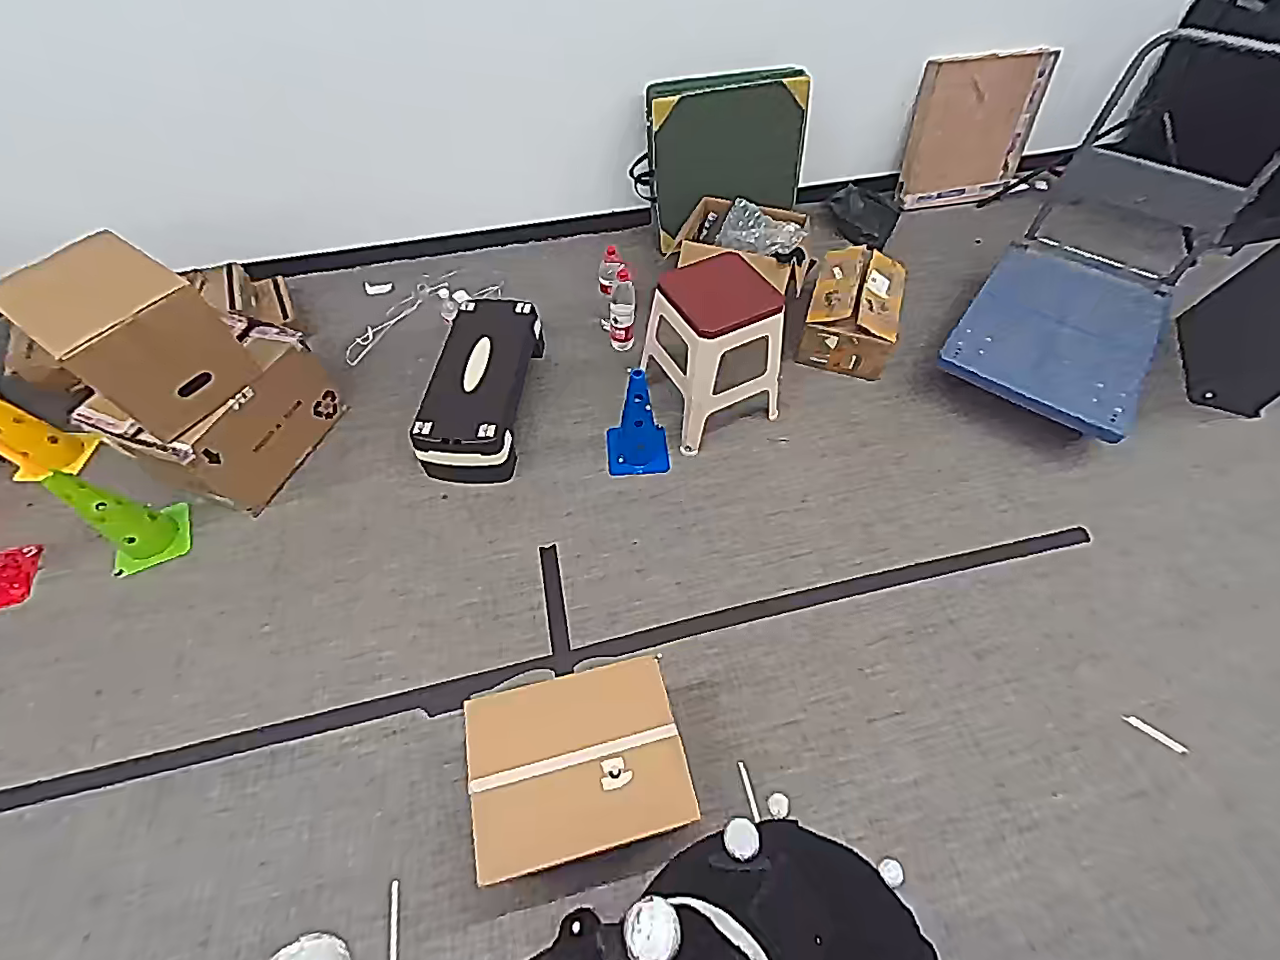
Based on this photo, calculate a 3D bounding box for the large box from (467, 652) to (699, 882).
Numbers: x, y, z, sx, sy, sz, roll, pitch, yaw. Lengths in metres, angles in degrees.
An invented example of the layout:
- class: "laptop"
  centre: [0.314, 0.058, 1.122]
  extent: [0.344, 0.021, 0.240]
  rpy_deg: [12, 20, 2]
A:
- class: "large box"
  centre: [-0.124, 0.612, 1.159]
  extent: [0.408, 0.320, 0.320]
  rpy_deg: [-11, 57, -9]
